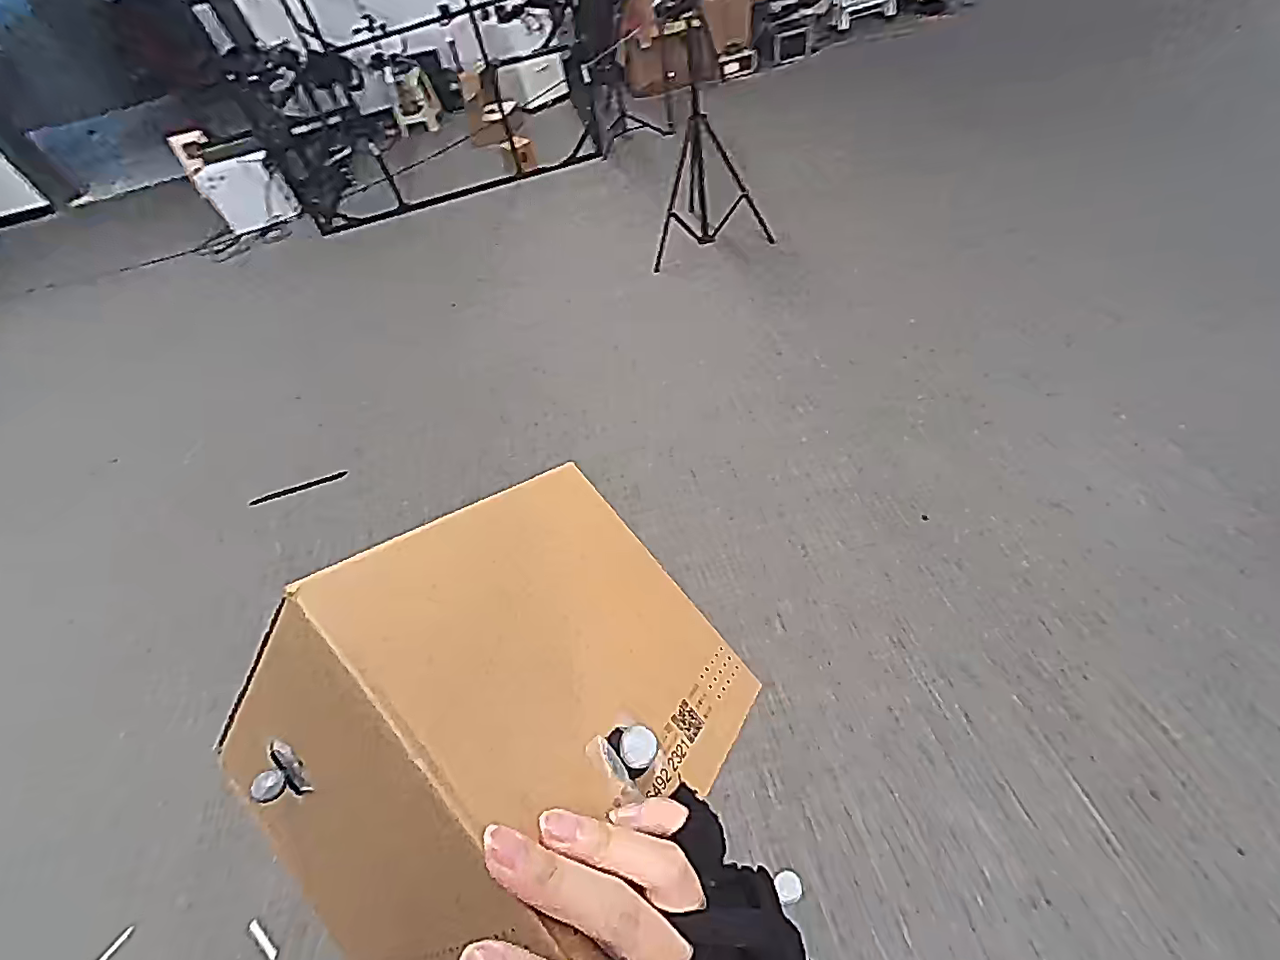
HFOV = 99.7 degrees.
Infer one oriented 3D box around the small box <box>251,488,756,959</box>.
[{"bbox_3d":[-0.071,0.139,0.301,0.176,0.179,0.168,49,34,7],"label":"small box"}]
